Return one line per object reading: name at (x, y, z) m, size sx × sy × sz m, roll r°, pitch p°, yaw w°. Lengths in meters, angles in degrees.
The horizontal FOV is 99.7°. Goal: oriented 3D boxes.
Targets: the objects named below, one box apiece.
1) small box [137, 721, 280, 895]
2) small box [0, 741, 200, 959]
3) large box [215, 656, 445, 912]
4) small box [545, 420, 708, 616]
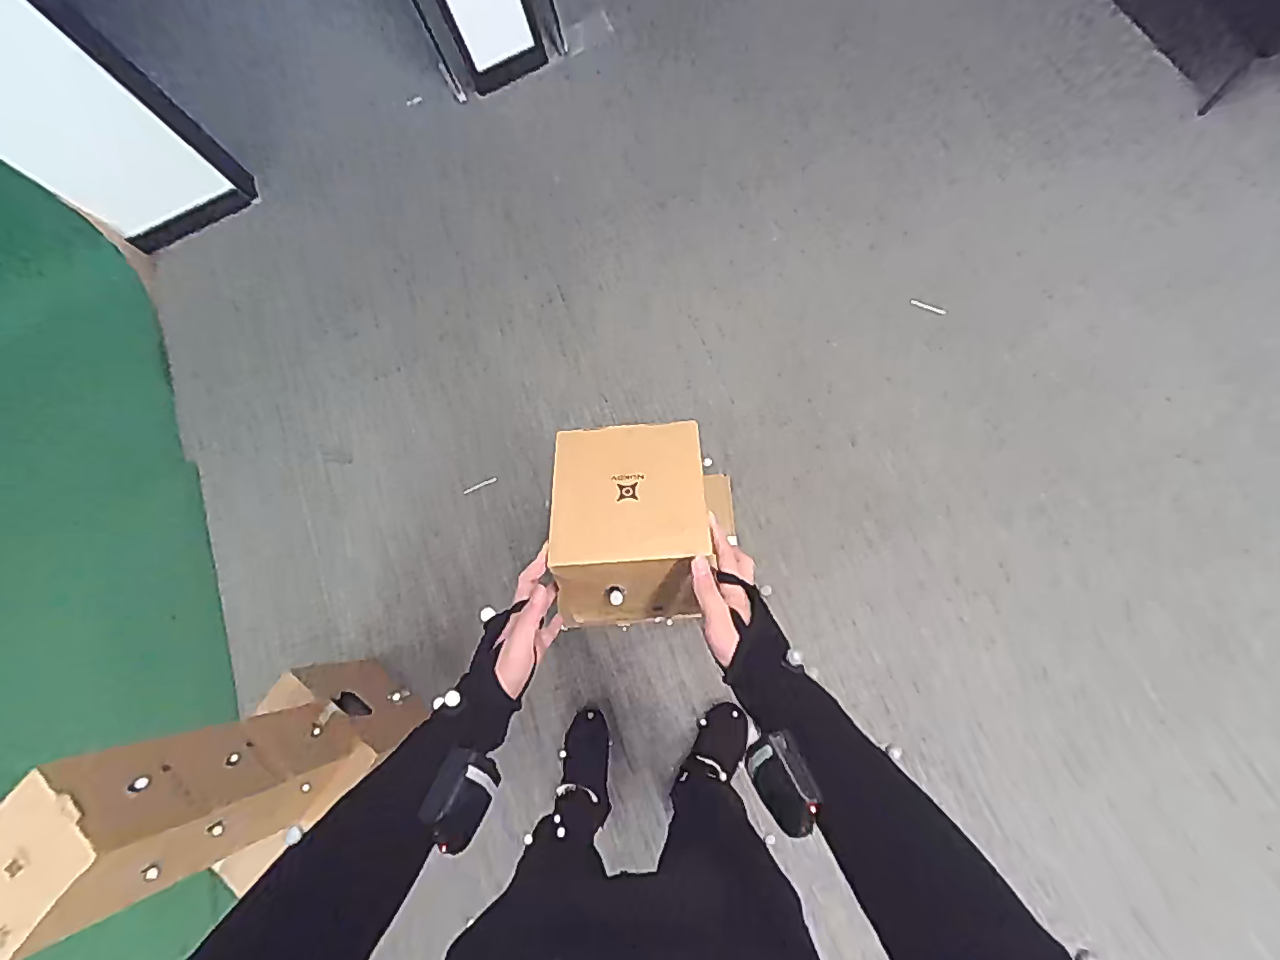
small box at (-0.783, 0.556, 0.951) m, size 0.168 × 0.176 × 0.179 m, roll 38°, pitch 84°, yaw 15°
small box at (-0.802, 0.518, 0.793) m, size 0.168 × 0.176 × 0.179 m, roll 38°, pitch 83°, yaw 15°
large box at (-0.775, 0.705, 1.341) m, size 0.320 × 0.320 × 0.408 m, roll 32°, pitch 84°, yaw 16°
small box at (-0.009, 0.053, 0.639) m, size 0.168 × 0.176 × 0.179 m, roll -4°, pitch 54°, yaw 2°
